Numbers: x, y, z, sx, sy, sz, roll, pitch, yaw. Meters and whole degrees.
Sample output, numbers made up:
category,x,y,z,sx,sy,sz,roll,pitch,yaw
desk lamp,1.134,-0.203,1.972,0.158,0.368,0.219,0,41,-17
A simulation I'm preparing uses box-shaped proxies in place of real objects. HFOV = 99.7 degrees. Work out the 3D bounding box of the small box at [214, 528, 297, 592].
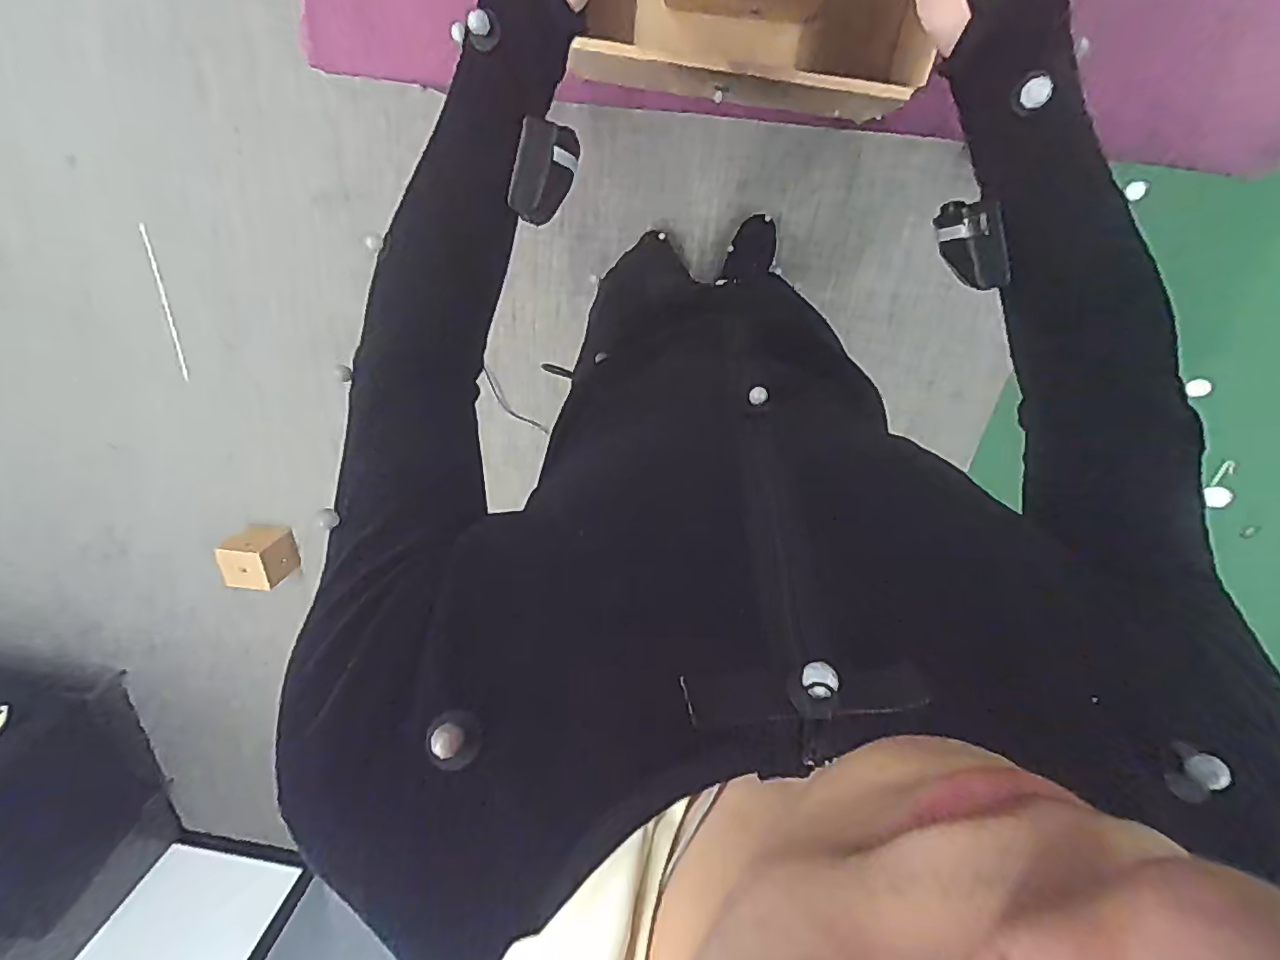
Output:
category,x,y,z,sx,sy,sz,roll,pitch,yaw
small box,-1.406,0.291,1.997,0.179,0.176,0.168,6,115,5
